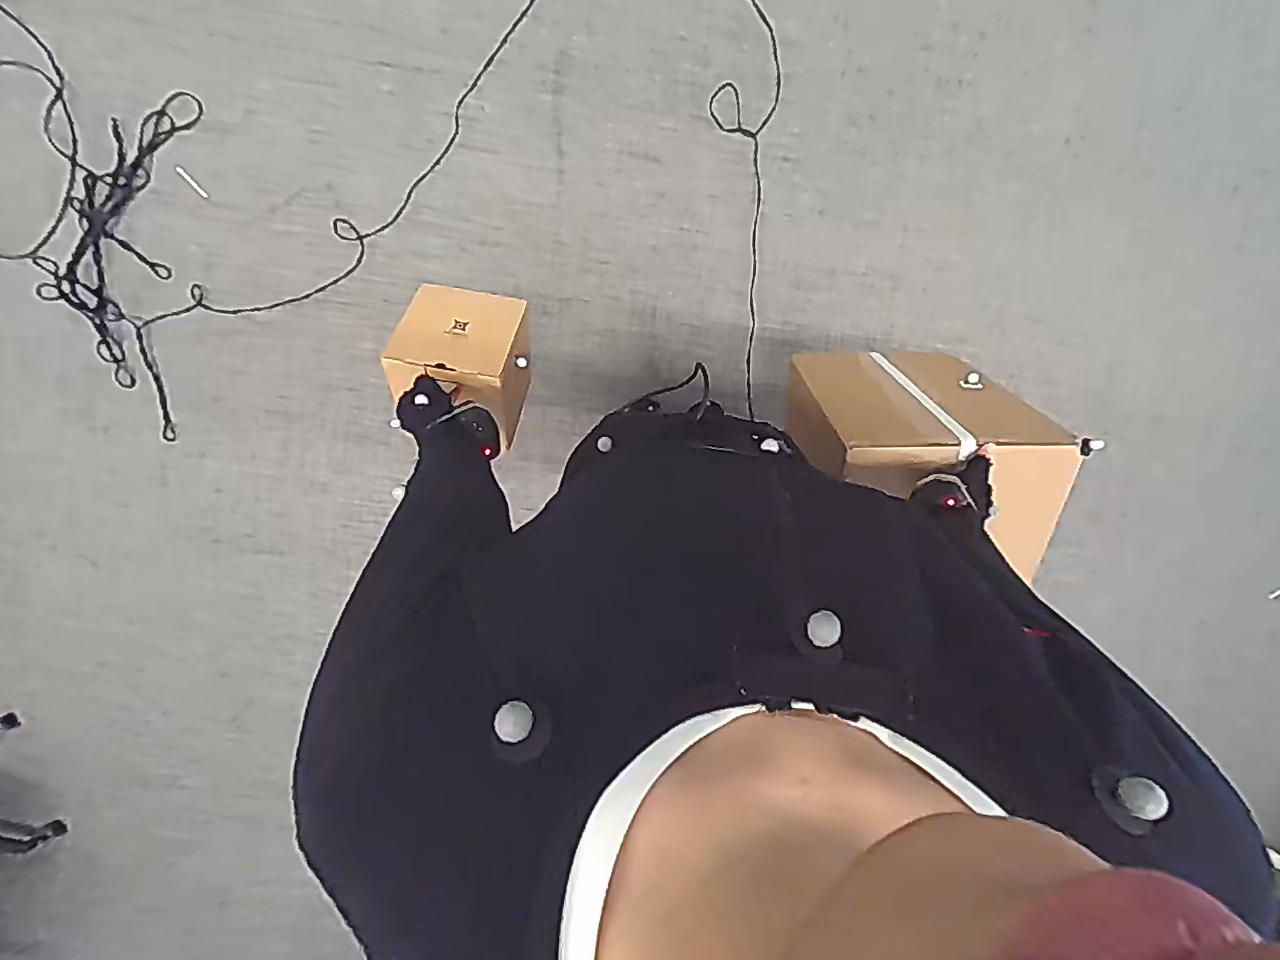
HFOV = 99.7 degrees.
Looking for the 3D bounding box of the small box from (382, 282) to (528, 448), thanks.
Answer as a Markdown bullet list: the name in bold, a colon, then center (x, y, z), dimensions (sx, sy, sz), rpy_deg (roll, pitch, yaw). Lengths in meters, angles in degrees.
- **small box**: center (-0.277, -0.178, 0.856), dimensions (0.168, 0.179, 0.176), rpy_deg (10, 145, -2)
